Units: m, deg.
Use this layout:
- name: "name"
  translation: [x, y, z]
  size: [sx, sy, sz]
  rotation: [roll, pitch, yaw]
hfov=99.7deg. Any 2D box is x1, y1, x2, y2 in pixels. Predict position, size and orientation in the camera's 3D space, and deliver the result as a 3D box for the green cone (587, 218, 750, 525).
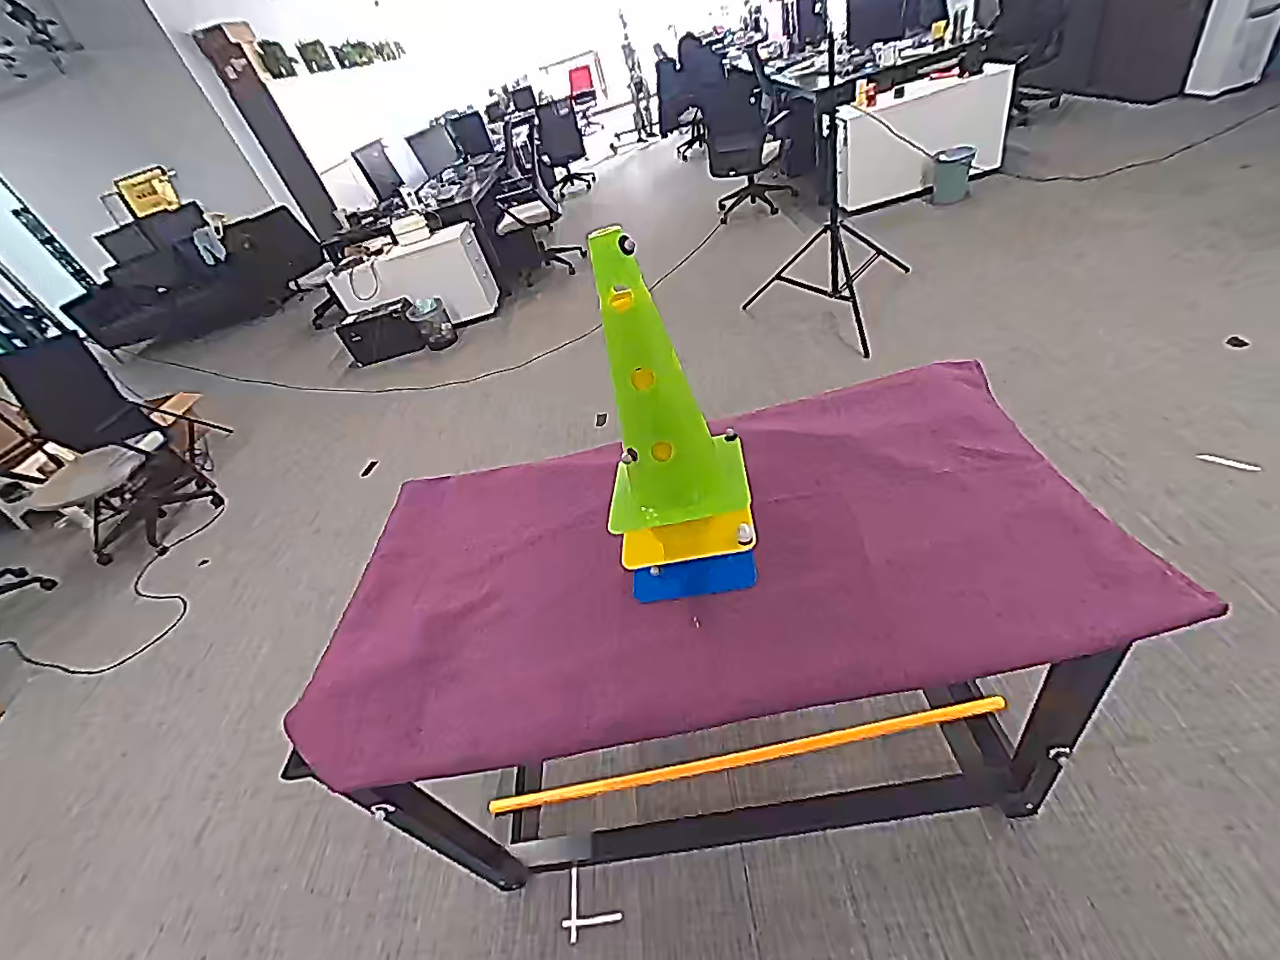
- name: "green cone"
  translation: [0.006, -0.147, 0.708]
  size: [0.200, 0.368, 0.202]
  rotation: [-13, 33, 11]
